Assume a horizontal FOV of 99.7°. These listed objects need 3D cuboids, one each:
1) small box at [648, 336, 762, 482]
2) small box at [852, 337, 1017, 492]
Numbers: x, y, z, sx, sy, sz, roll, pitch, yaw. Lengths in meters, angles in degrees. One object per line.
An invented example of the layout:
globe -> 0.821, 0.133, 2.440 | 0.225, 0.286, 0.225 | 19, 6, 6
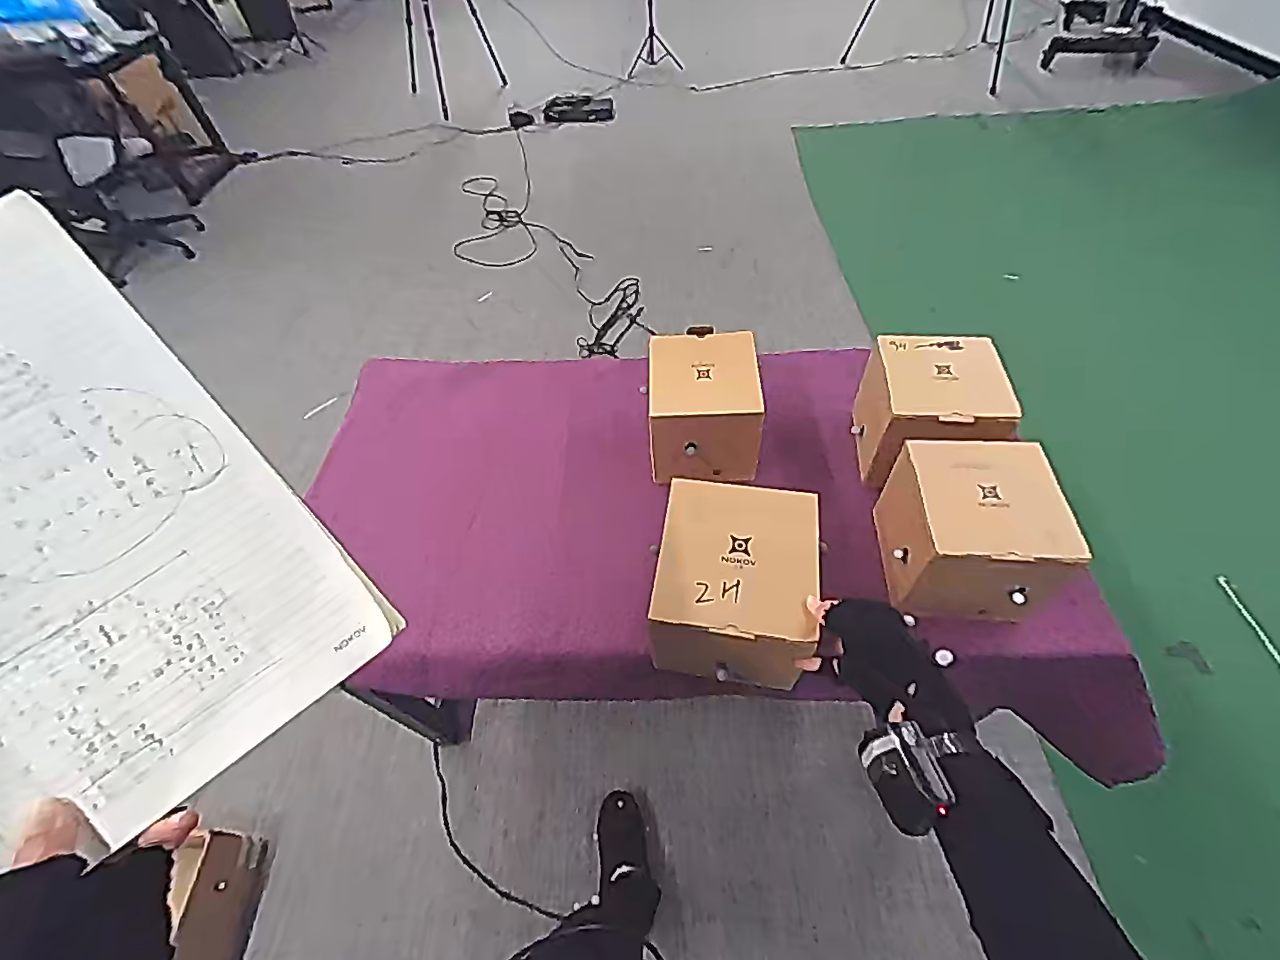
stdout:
small box -> 0.101, -0.108, 0.879 | 0.168, 0.176, 0.179 | -2, 52, 4
small box -> 0.439, -0.099, 0.838 | 0.168, 0.176, 0.179 | 4, 54, 8
